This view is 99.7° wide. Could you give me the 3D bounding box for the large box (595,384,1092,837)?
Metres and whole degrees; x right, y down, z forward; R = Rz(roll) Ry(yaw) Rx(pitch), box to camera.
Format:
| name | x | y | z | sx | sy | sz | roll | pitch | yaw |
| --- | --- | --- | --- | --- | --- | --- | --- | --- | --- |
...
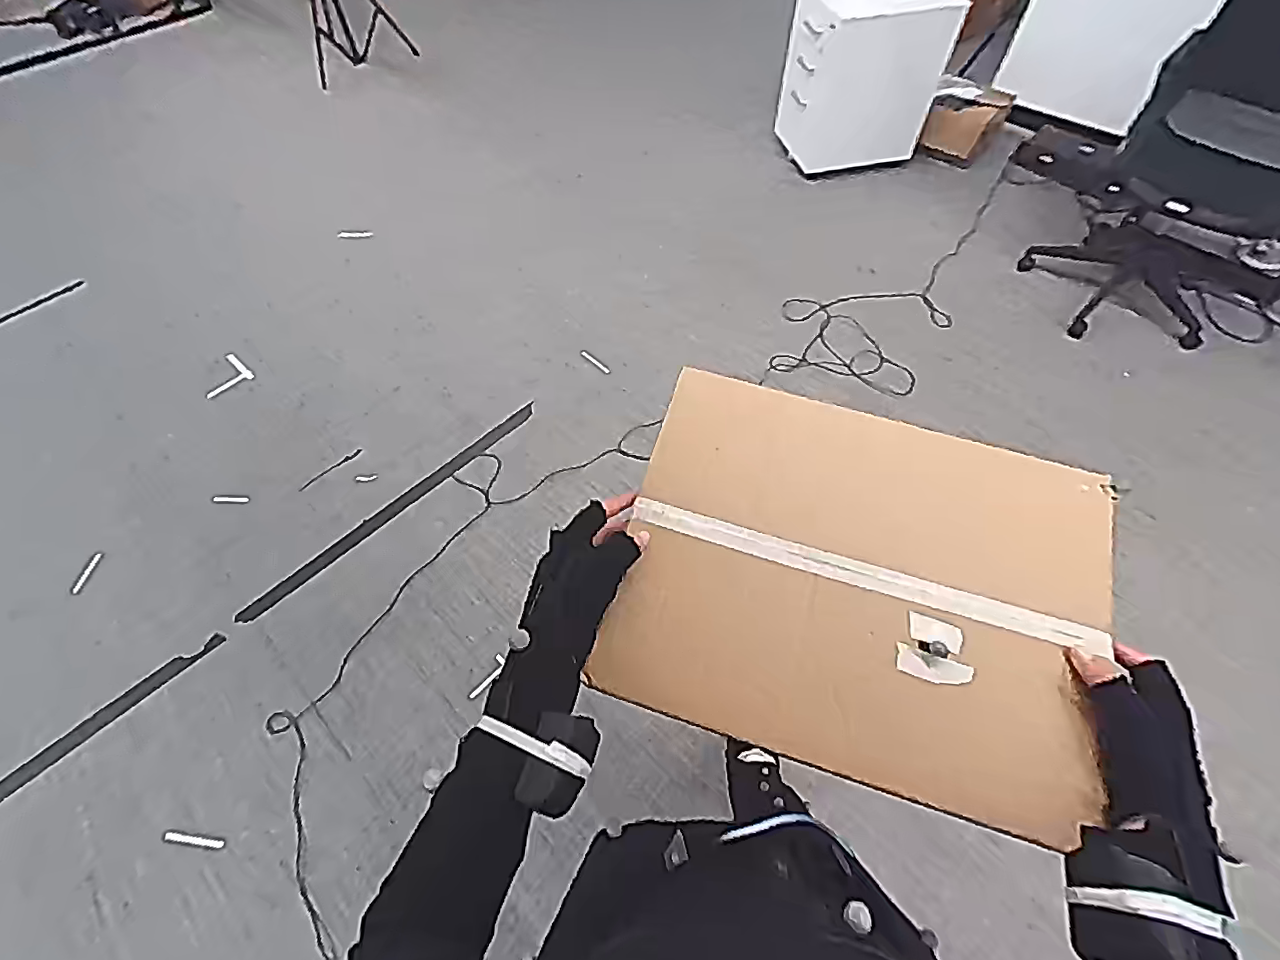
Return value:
| name | x | y | z | sx | sy | sz | roll | pitch | yaw |
| --- | --- | --- | --- | --- | --- | --- | --- | --- | --- |
| large box | 0.193 | 0.139 | 0.623 | 0.408 | 0.320 | 0.320 | 16 | 71 | 7 |
